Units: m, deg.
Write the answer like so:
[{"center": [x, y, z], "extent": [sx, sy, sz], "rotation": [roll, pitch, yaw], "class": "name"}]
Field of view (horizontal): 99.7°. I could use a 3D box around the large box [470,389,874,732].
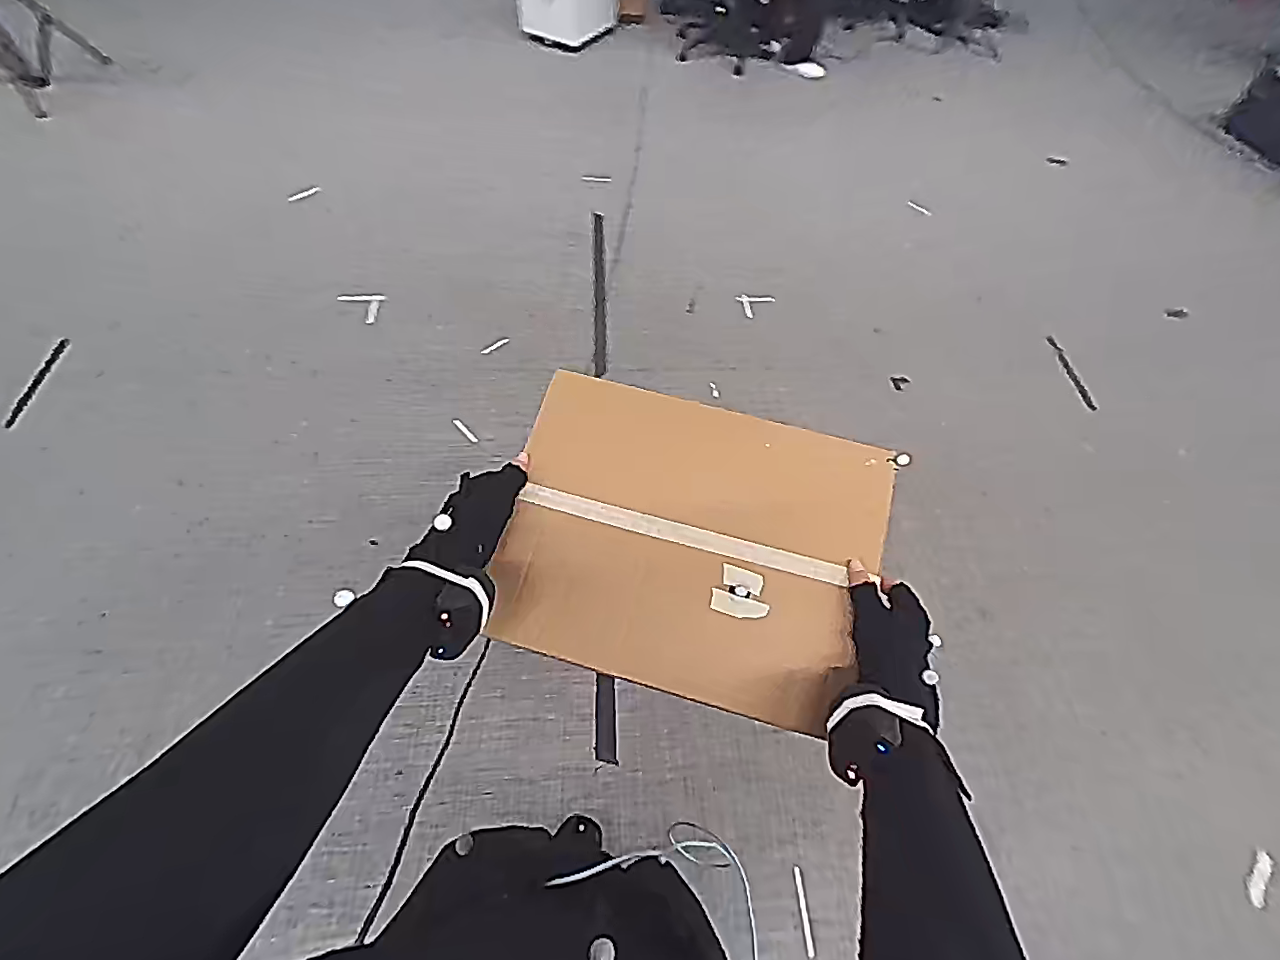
[{"center": [0.044, 0.119, 0.740], "extent": [0.408, 0.320, 0.320], "rotation": [14, 72, 4], "class": "large box"}]
